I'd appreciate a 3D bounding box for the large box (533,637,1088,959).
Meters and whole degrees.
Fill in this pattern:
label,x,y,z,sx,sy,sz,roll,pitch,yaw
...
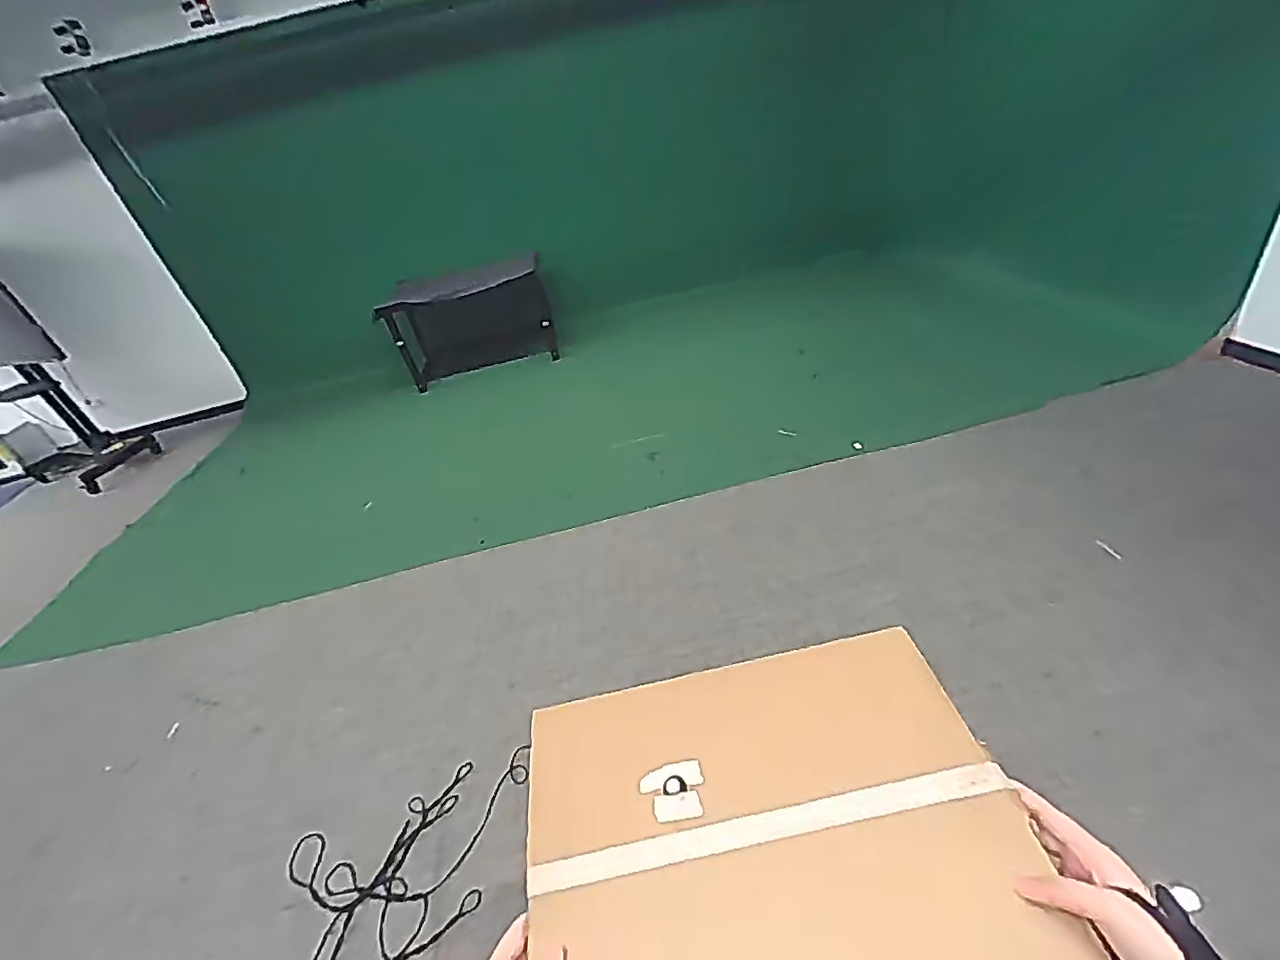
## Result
label,x,y,z,sx,sy,sz,roll,pitch,yaw
large box,0.134,0.420,0.557,0.408,0.320,0.320,-15,38,2
